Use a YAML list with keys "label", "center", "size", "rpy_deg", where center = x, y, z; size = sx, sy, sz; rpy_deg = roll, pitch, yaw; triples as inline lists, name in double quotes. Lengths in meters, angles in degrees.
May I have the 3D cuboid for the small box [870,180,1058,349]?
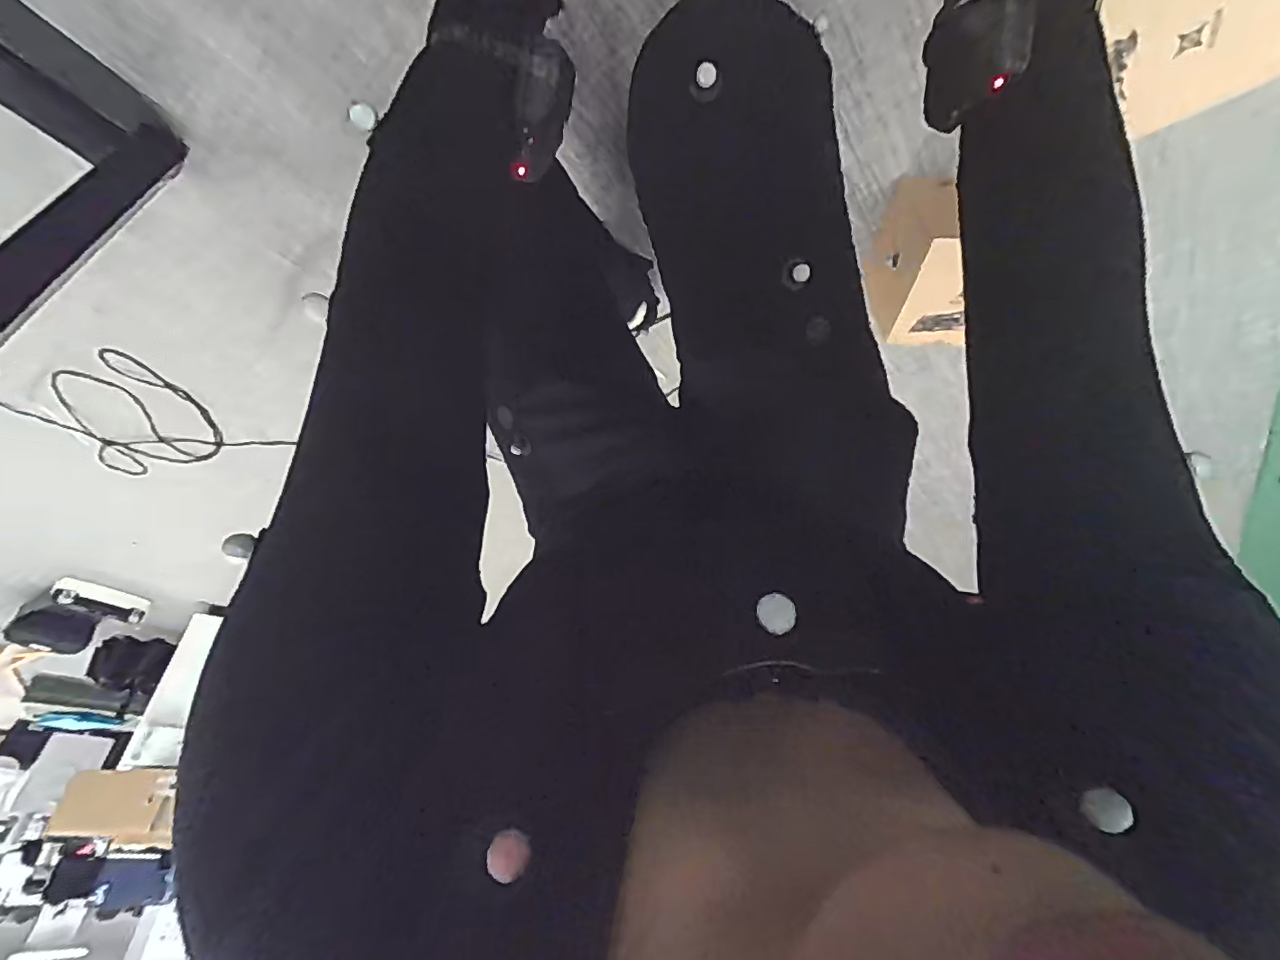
- label: "small box"
  center: [0.466, -0.321, 0.815]
  size: [0.168, 0.176, 0.179]
  rpy_deg: [1, 144, 1]
